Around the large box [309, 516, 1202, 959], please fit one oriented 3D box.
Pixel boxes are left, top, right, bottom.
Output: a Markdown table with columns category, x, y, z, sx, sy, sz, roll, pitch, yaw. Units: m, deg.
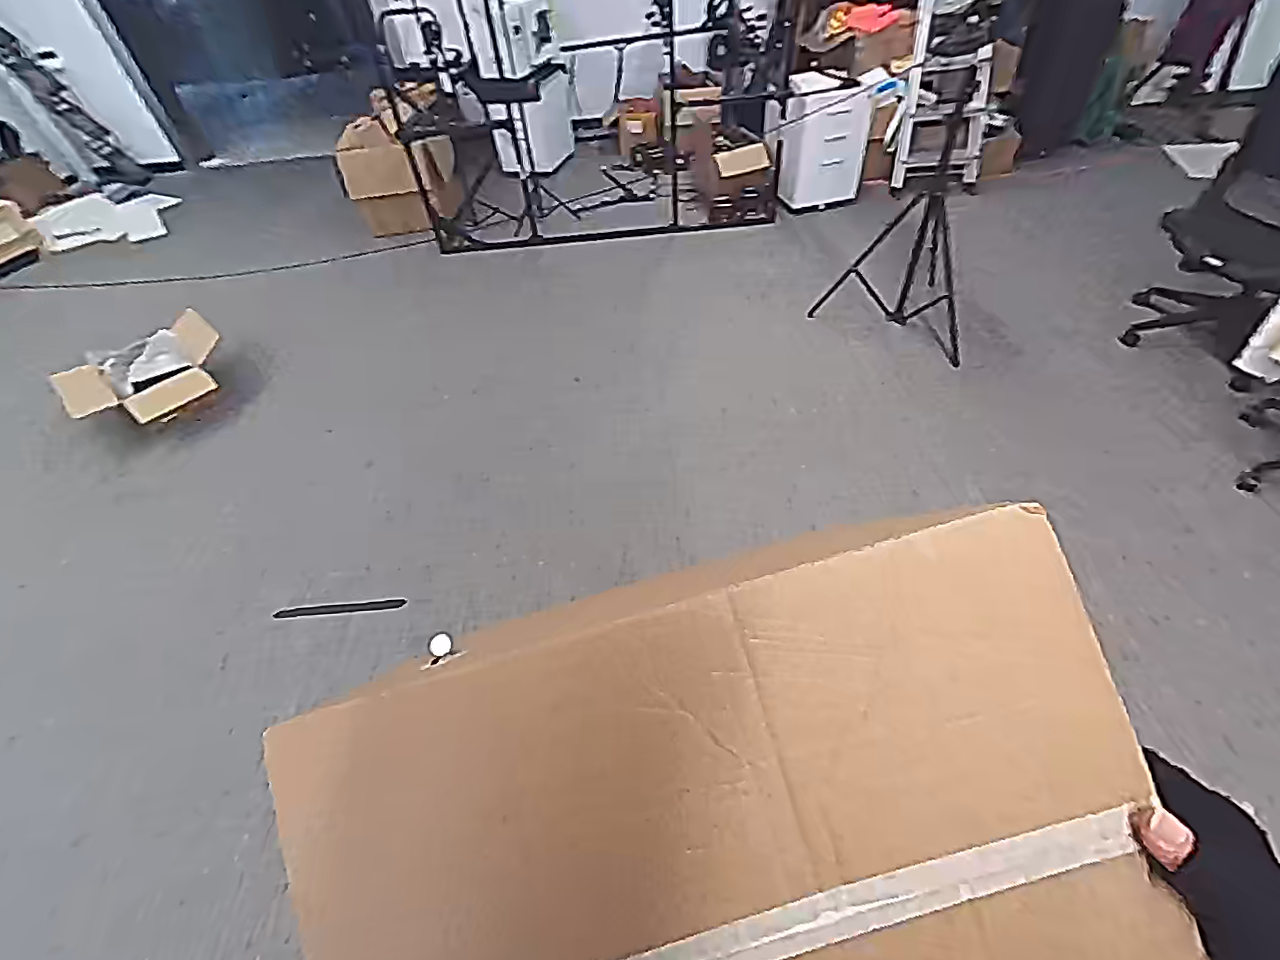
| category | x | y | z | sx | sy | sz | roll | pitch | yaw |
| --- | --- | --- | --- | --- | --- | --- | --- | --- | --- |
| large box | 0.061 | 0.242 | 0.412 | 0.408 | 0.320 | 0.320 | -17 | 83 | -1 |
